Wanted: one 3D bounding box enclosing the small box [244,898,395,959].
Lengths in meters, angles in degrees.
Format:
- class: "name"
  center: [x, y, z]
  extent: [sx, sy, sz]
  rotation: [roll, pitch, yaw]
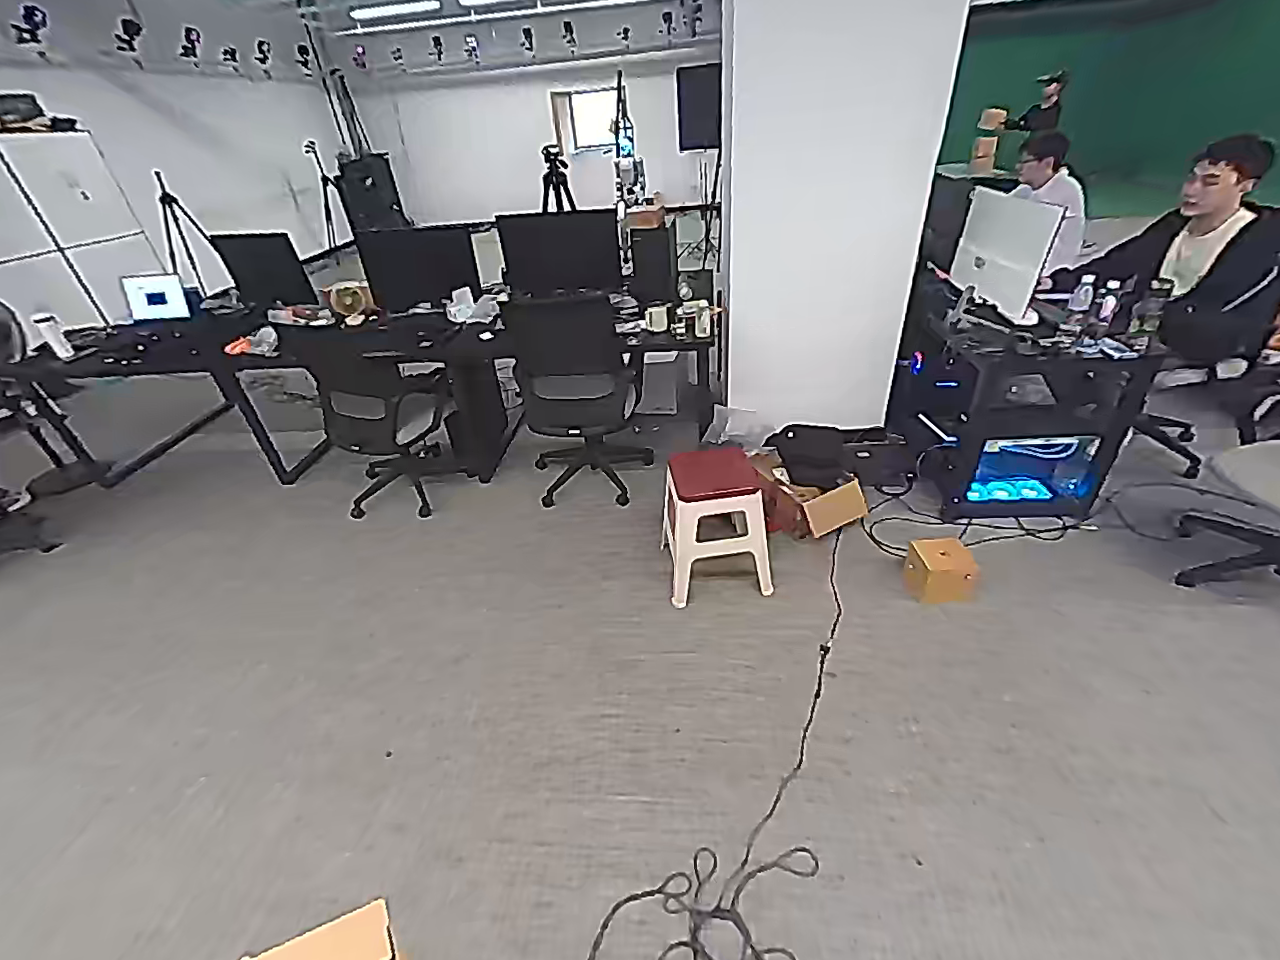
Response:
- class: "small box"
  center: [-0.340, 0.583, 0.540]
  extent: [0.179, 0.176, 0.168]
  rotation: [-3, 36, -37]
